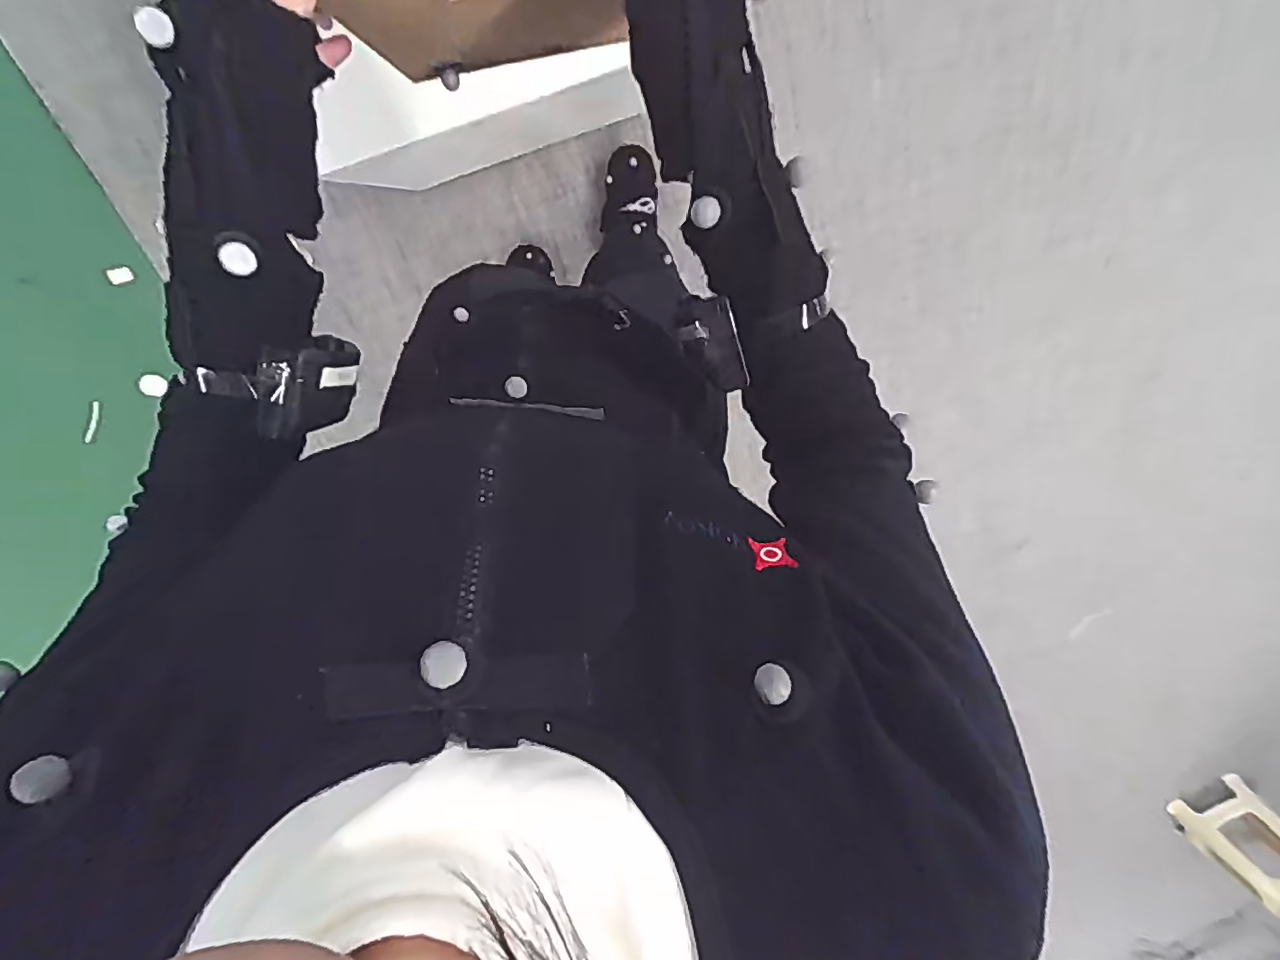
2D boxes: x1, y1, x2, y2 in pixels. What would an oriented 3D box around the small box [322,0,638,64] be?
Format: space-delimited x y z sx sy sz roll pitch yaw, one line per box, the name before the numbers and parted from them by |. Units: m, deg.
small box | -0.091 -0.344 0.274 0.168 0.176 0.179 -11 114 1
